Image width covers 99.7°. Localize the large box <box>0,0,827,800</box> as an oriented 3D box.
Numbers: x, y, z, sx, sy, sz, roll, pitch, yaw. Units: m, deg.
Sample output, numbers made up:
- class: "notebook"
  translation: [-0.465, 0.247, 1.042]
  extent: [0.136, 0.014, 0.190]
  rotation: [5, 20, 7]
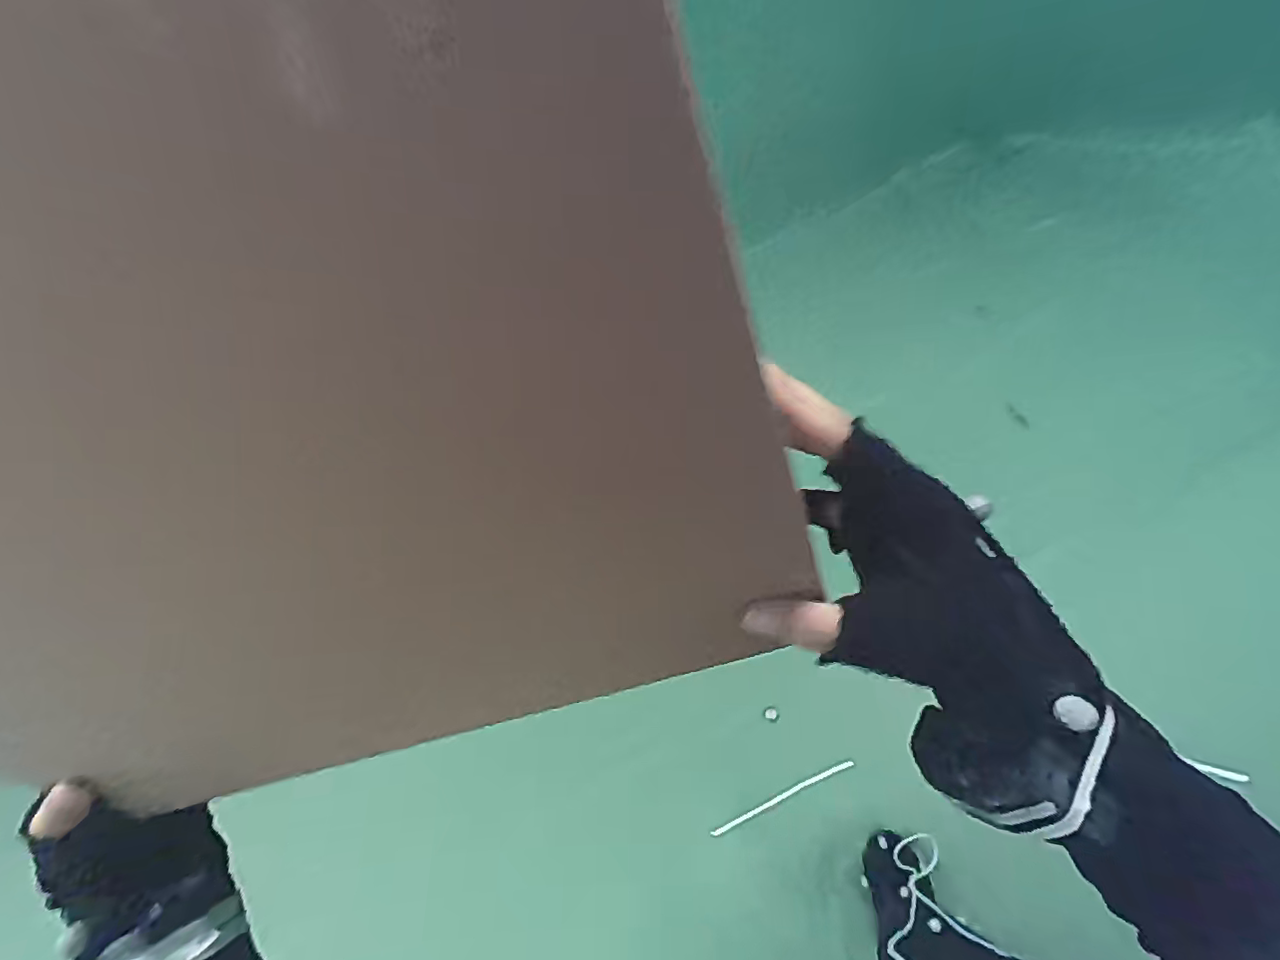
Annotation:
- class: "large box"
  translation: [-0.161, -0.077, 0.291]
  extent: [0.408, 0.320, 0.320]
  rotation: [-18, 43, 9]
